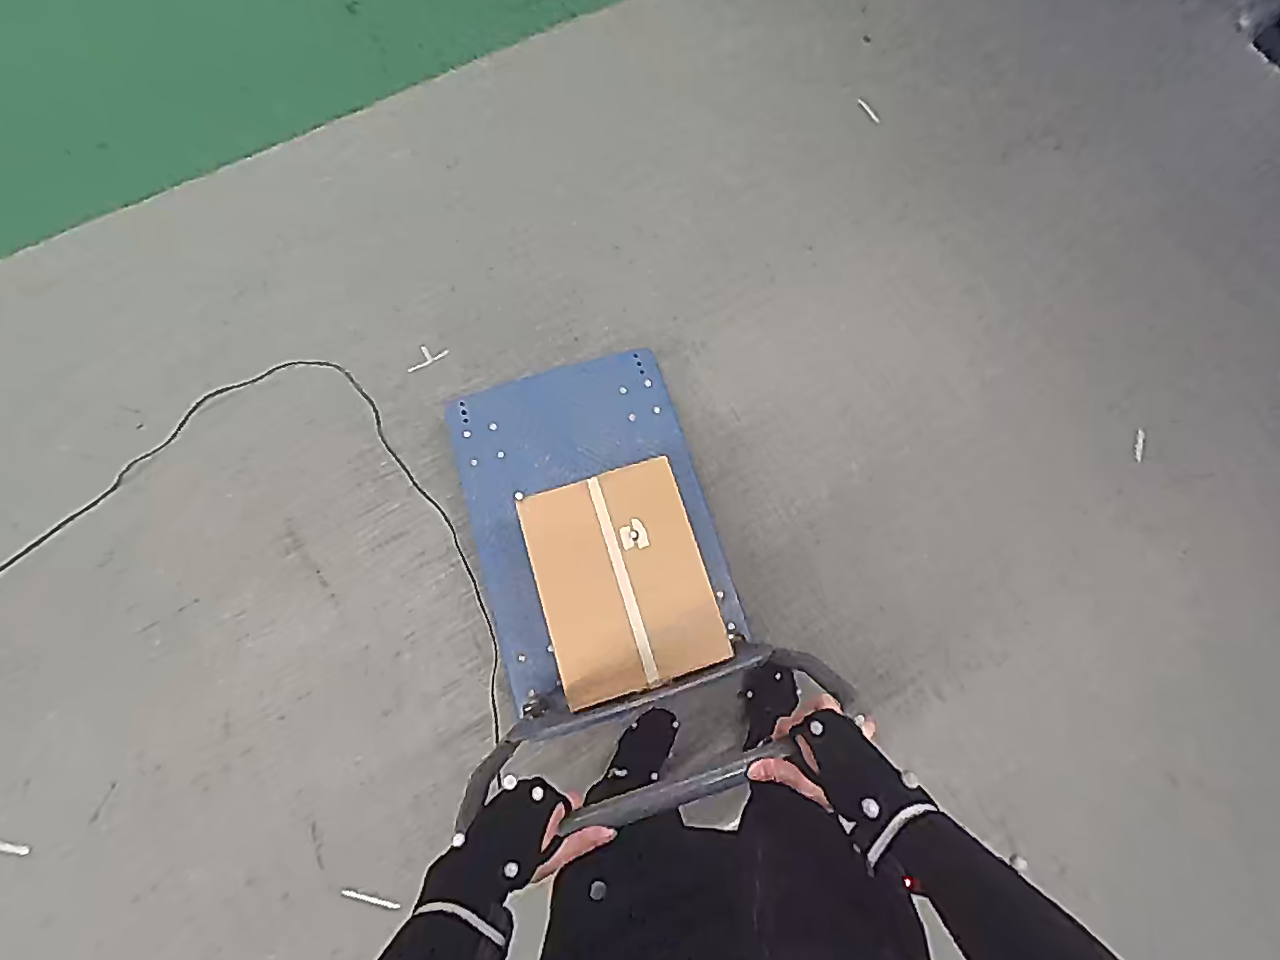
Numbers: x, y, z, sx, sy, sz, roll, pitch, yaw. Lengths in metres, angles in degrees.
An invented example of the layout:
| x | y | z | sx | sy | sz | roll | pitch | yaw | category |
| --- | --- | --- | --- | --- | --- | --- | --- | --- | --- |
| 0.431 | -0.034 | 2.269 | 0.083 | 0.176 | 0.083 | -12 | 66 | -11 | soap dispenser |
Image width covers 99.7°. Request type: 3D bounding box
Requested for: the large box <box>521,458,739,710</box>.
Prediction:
| x | y | z | sx | sy | sz | roll | pitch | yaw | category |
| --- | --- | --- | --- | --- | --- | --- | --- | --- | --- |
| -0.024 | 0.222 | 1.152 | 0.320 | 0.320 | 0.408 | -17 | 75 | -6 | large box |
